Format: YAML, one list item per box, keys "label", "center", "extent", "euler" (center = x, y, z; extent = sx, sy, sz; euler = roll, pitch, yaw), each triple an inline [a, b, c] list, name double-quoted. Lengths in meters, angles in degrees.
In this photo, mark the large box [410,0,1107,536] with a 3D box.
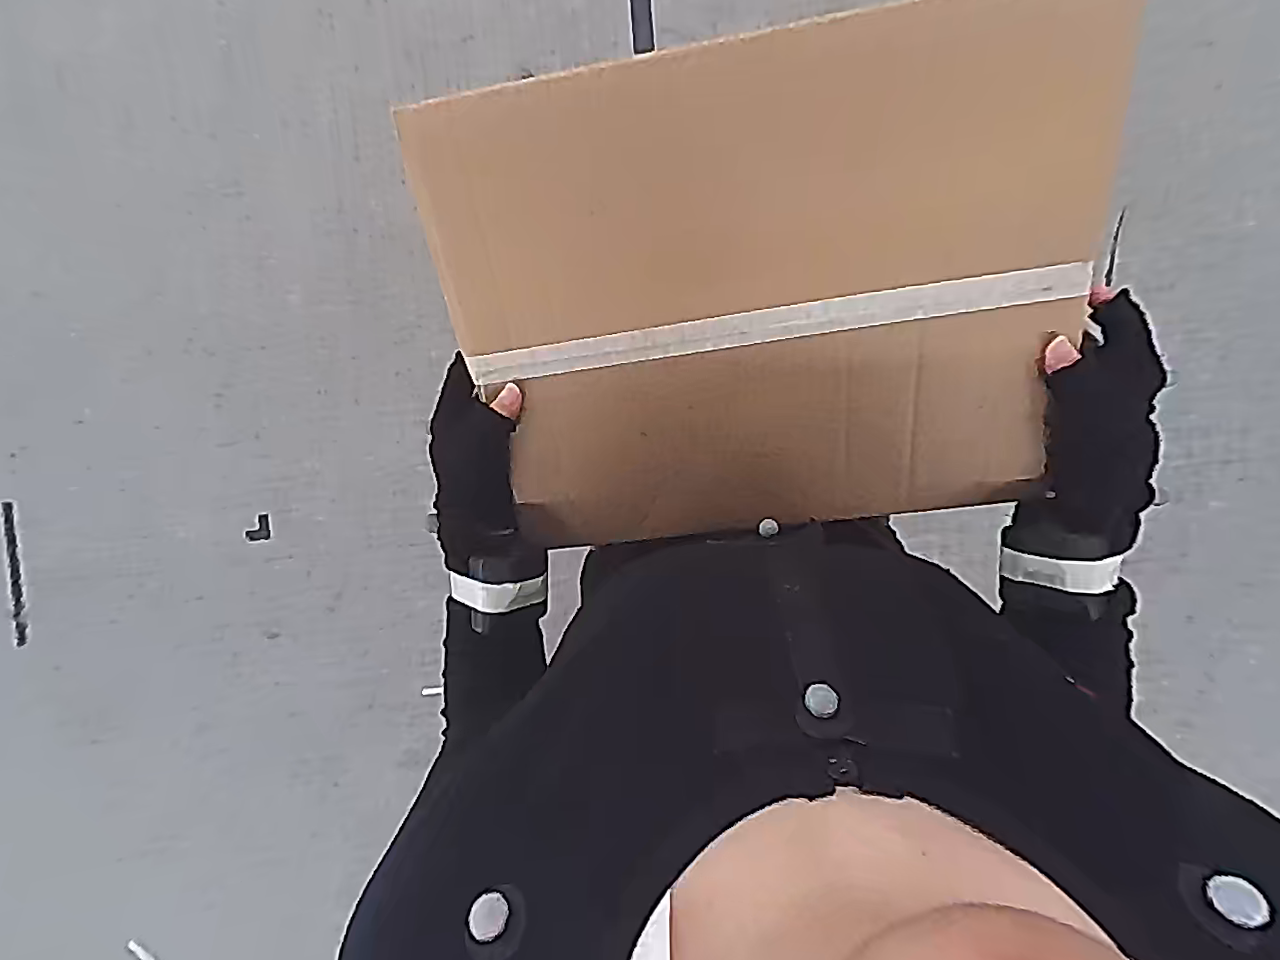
- label: "large box"
  center: [0.083, -0.177, 0.502]
  extent: [0.408, 0.320, 0.320]
  euler: [-7, 117, 7]
